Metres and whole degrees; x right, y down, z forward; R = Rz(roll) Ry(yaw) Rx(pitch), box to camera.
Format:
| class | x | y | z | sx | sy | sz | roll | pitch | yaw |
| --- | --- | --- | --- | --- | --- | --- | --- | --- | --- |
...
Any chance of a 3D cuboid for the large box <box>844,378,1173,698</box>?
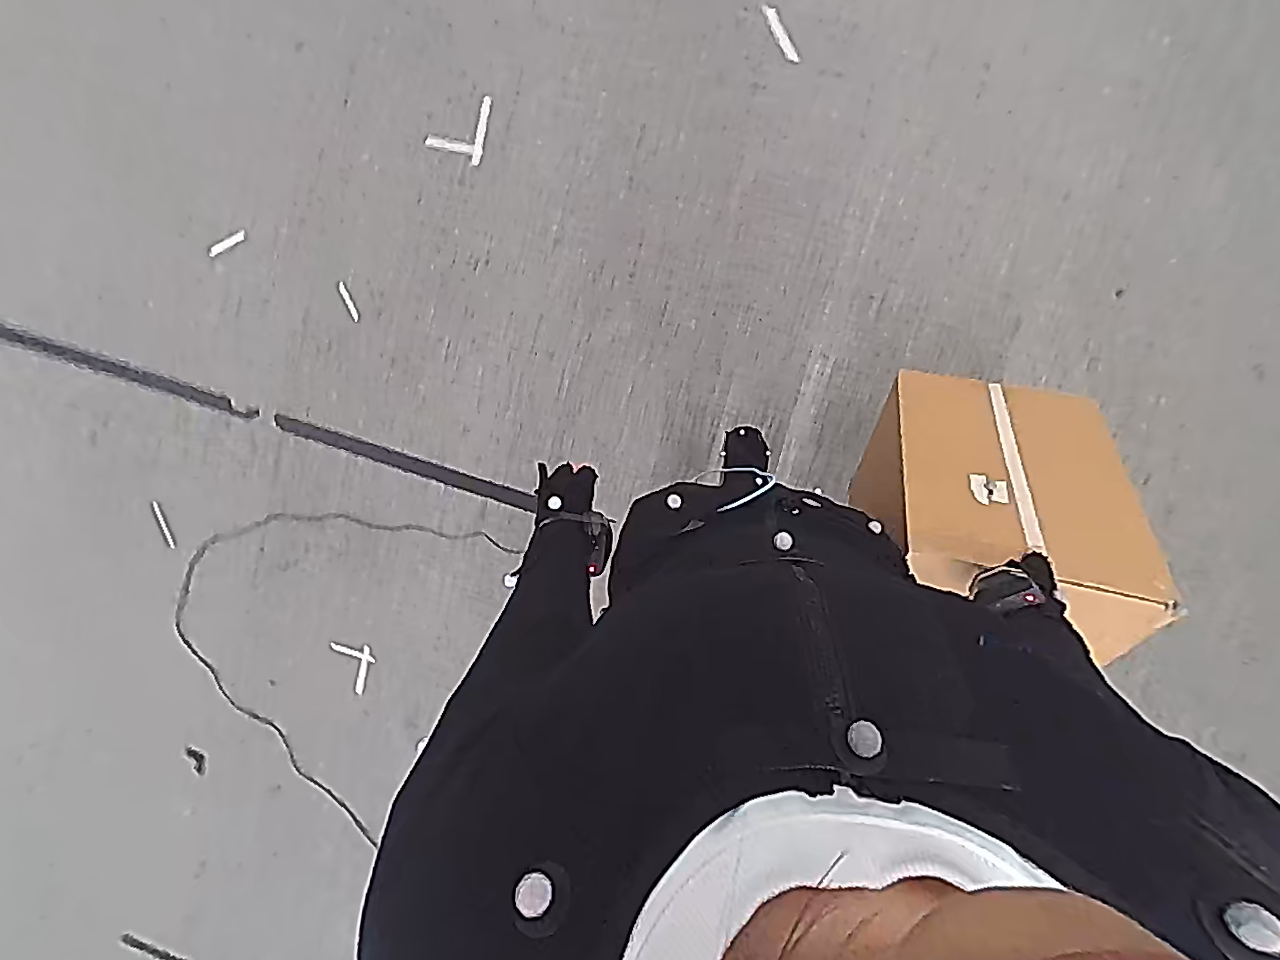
| class | x | y | z | sx | sy | sz | roll | pitch | yaw |
| --- | --- | --- | --- | --- | --- | --- | --- | --- | --- |
| large box | 0.546 | 0.087 | 0.916 | 0.320 | 0.408 | 0.320 | 10 | 139 | 11 |
